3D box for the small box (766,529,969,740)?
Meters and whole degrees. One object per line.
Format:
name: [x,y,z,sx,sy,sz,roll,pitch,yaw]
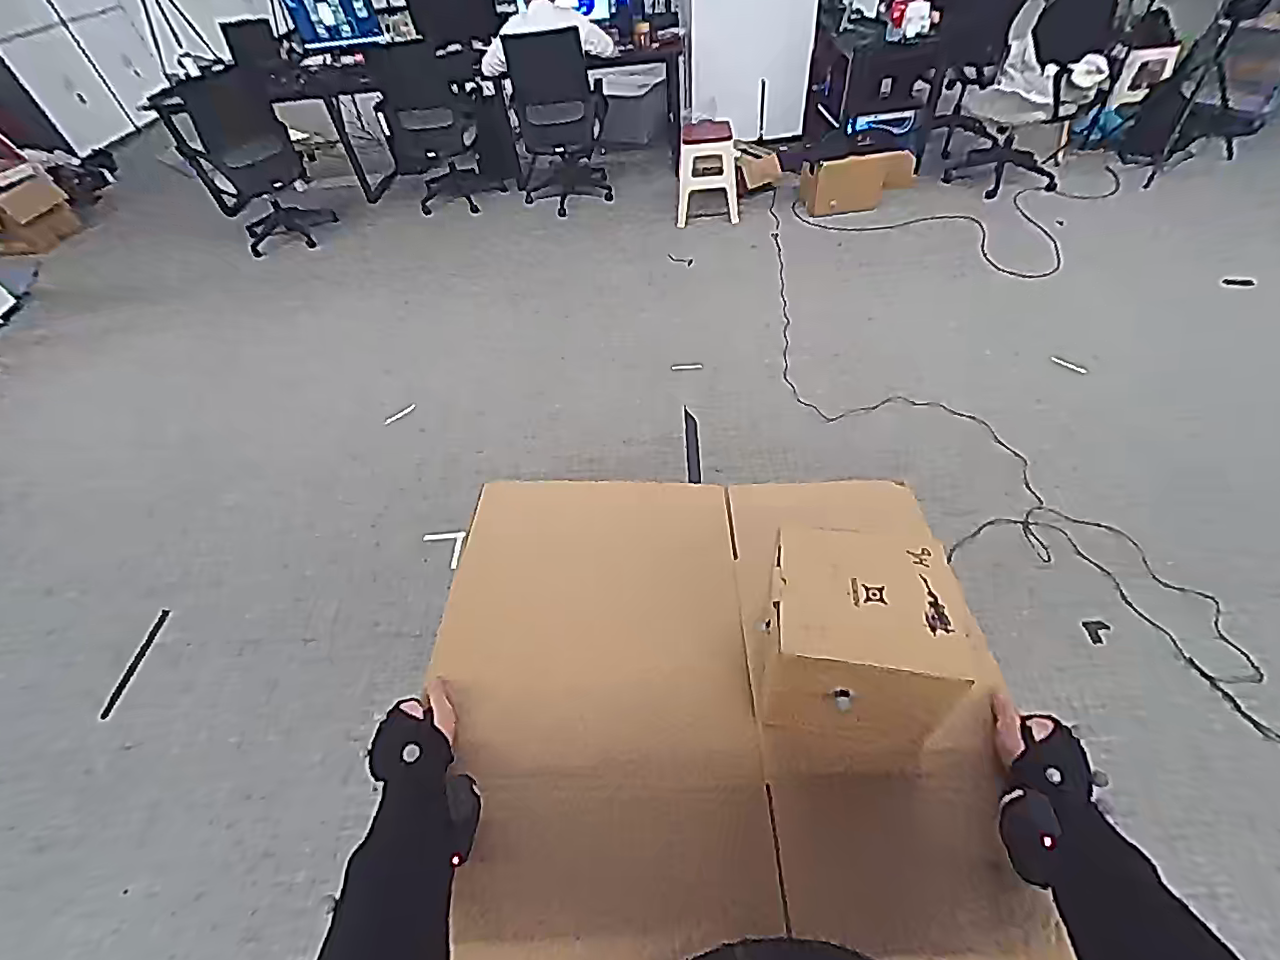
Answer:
small box: [0.239,0.177,0.620,0.179,0.176,0.168,4,46,11]
